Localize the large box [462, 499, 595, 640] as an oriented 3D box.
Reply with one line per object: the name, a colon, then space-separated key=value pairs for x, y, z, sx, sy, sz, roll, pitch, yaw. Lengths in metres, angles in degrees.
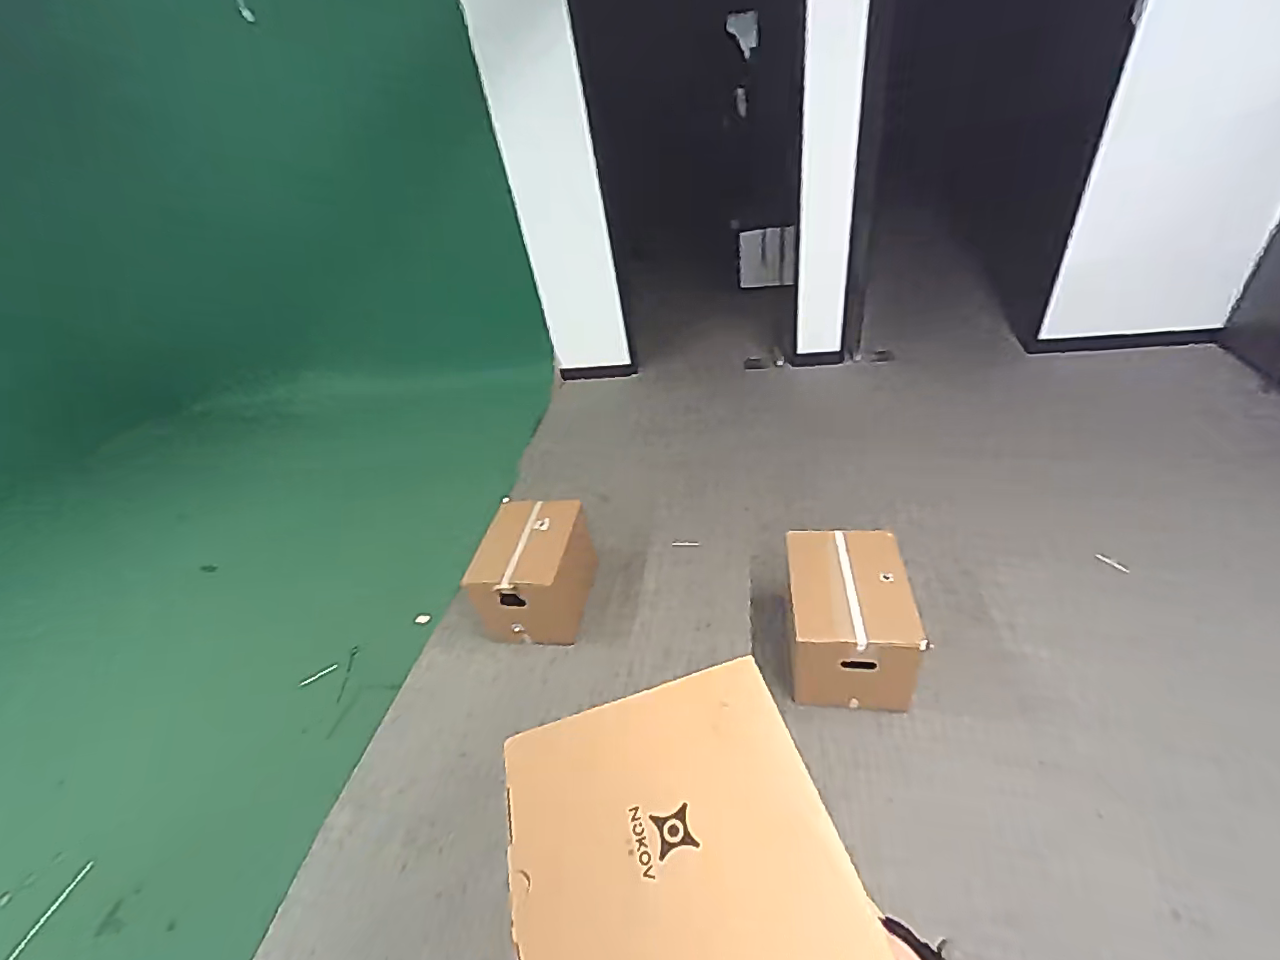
large box: x=-0.372 y=0.316 z=1.927 sx=0.320 sy=0.320 sz=0.408 roll=-2 pitch=38 yaw=12

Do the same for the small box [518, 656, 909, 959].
small box: x=0.036 y=0.250 z=0.352 sx=0.179 sy=0.176 sz=0.168 roll=-18 pitch=42 yaw=-4
